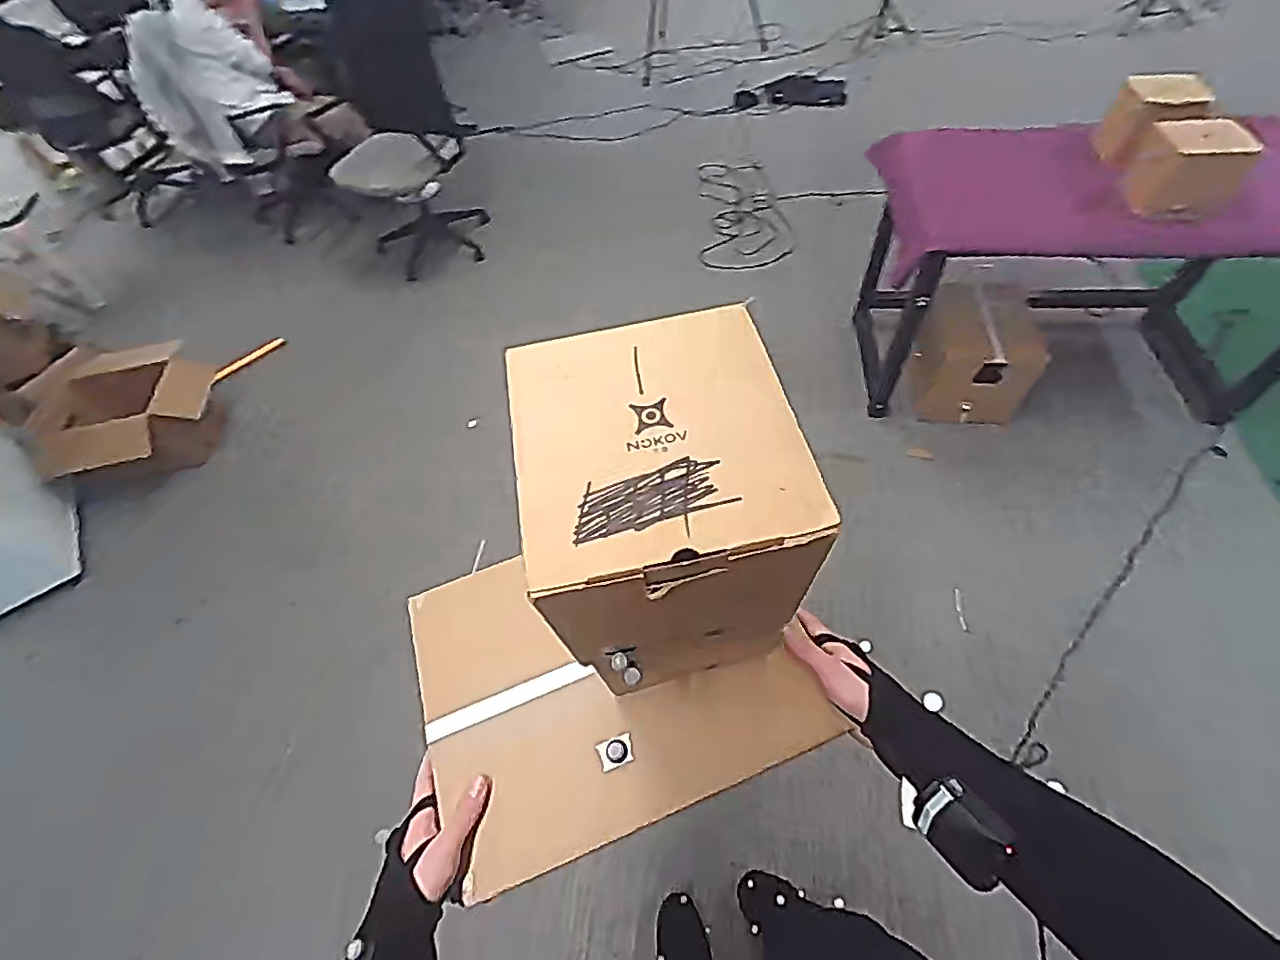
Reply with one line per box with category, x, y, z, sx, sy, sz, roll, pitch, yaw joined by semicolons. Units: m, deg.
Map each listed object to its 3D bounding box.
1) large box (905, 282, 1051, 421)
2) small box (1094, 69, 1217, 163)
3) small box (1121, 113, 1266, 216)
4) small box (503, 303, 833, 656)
large box;1.188;-0.460;1.956;0.320;0.320;0.408;3;54;9
small box;1.414;-1.008;1.501;0.168;0.176;0.179;5;57;10
small box;1.361;-0.785;1.349;0.168;0.176;0.179;4;55;11
small box;0.011;0.012;0.376;0.168;0.176;0.179;-11;58;-1
